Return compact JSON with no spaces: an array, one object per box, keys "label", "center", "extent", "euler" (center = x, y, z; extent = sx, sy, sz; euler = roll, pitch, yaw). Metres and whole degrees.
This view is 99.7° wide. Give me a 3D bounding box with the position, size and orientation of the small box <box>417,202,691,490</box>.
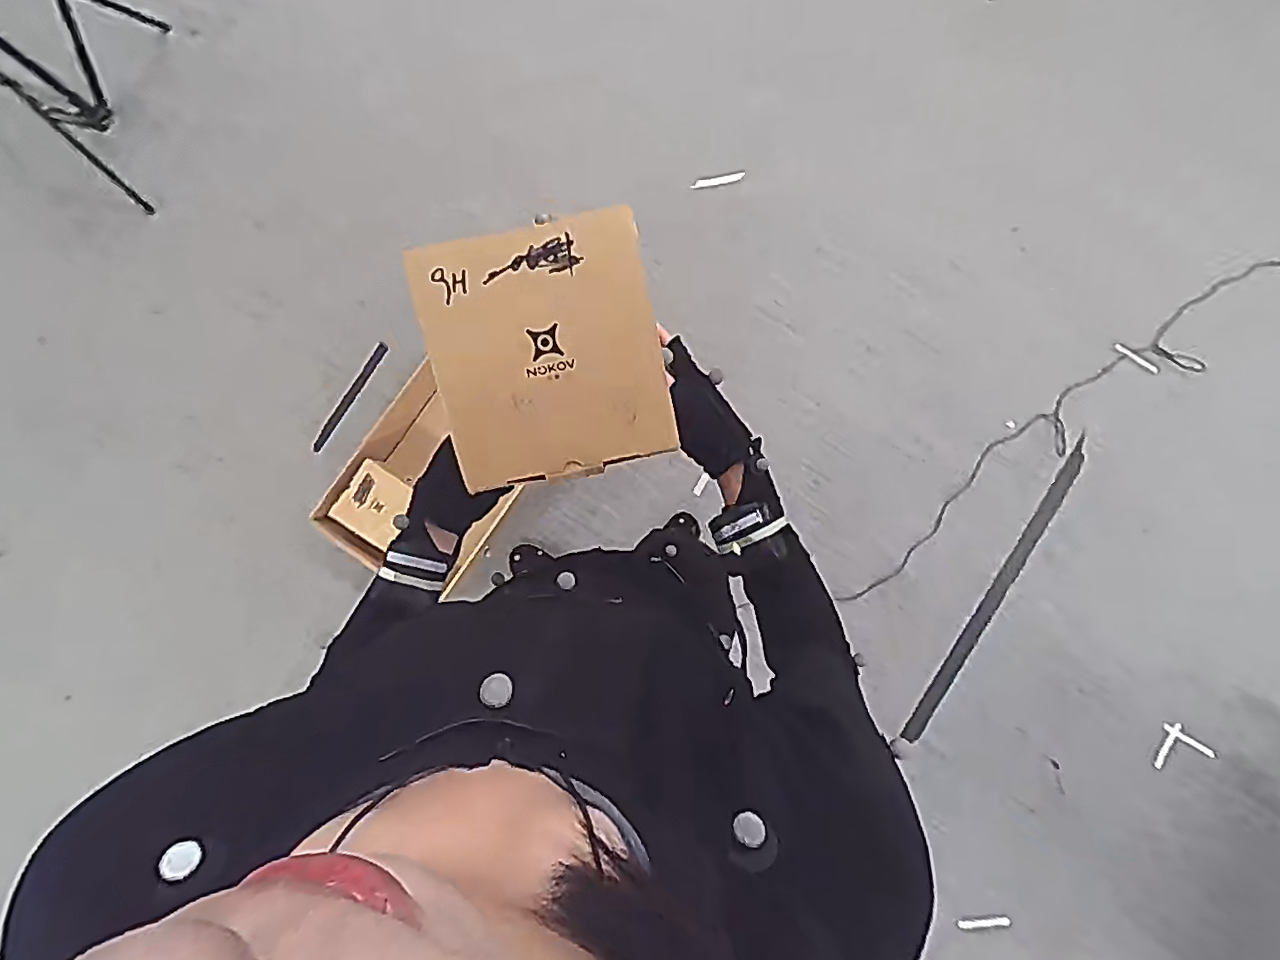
[{"label":"small box","center":[-0.058,-0.105,0.458],"extent":[0.168,0.176,0.179],"euler":[-12,101,0]}]
